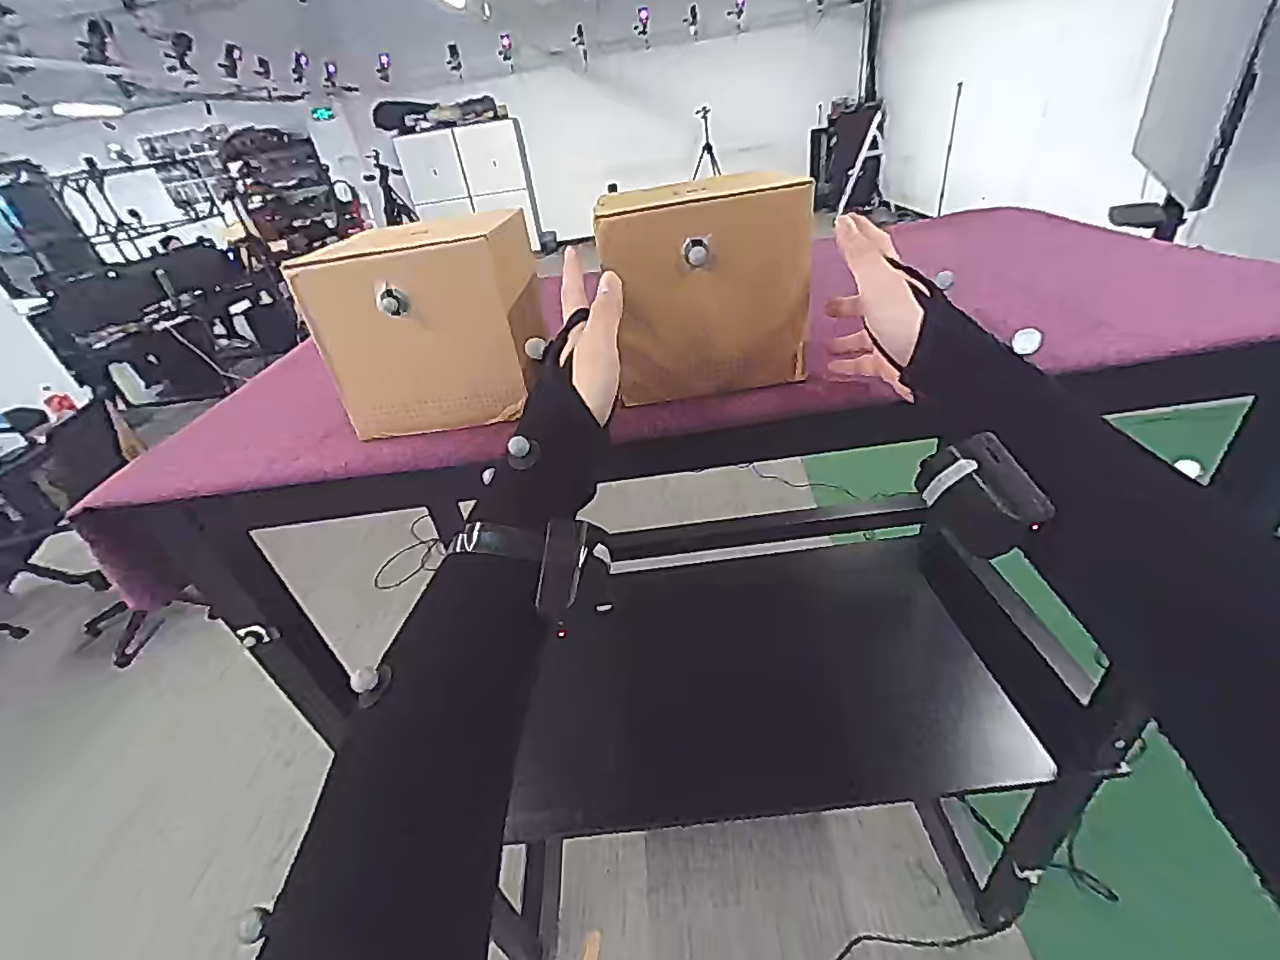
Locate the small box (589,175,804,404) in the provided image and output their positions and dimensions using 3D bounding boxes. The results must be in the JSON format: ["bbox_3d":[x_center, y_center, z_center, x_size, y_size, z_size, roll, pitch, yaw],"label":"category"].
[{"bbox_3d":[0.053,-0.192,0.540,0.179,0.176,0.168,-9,32,3],"label":"small box"}]

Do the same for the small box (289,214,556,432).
[{"bbox_3d":[-0.198,-0.159,0.552,0.179,0.176,0.168,-6,33,4],"label":"small box"}]
